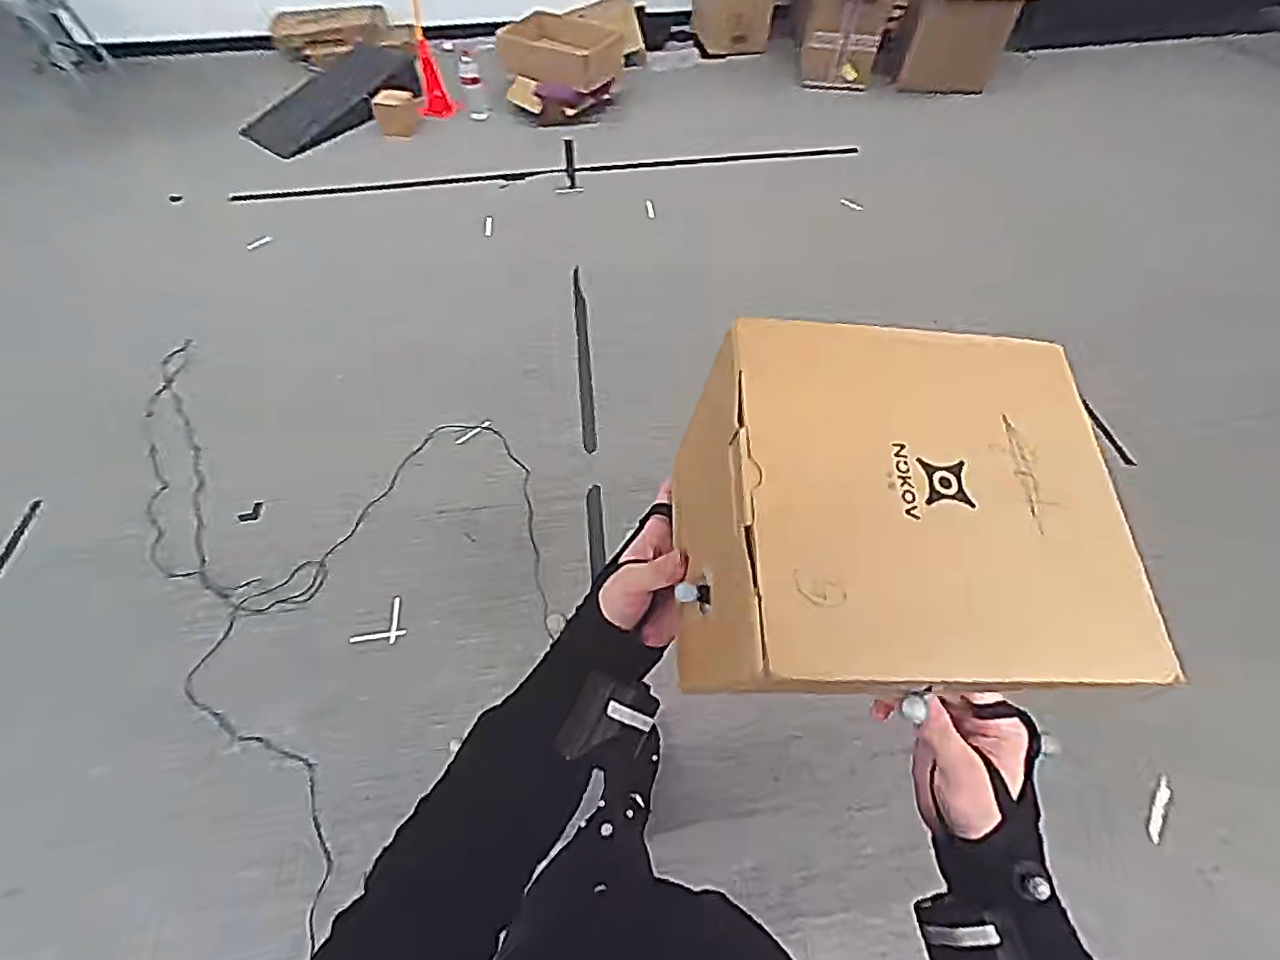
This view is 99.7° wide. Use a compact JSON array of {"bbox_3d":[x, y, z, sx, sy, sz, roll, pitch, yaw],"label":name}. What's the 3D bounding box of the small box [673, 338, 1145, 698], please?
[{"bbox_3d":[0.117,0.039,0.321,0.179,0.176,0.168,3,67,-8],"label":"small box"}]
